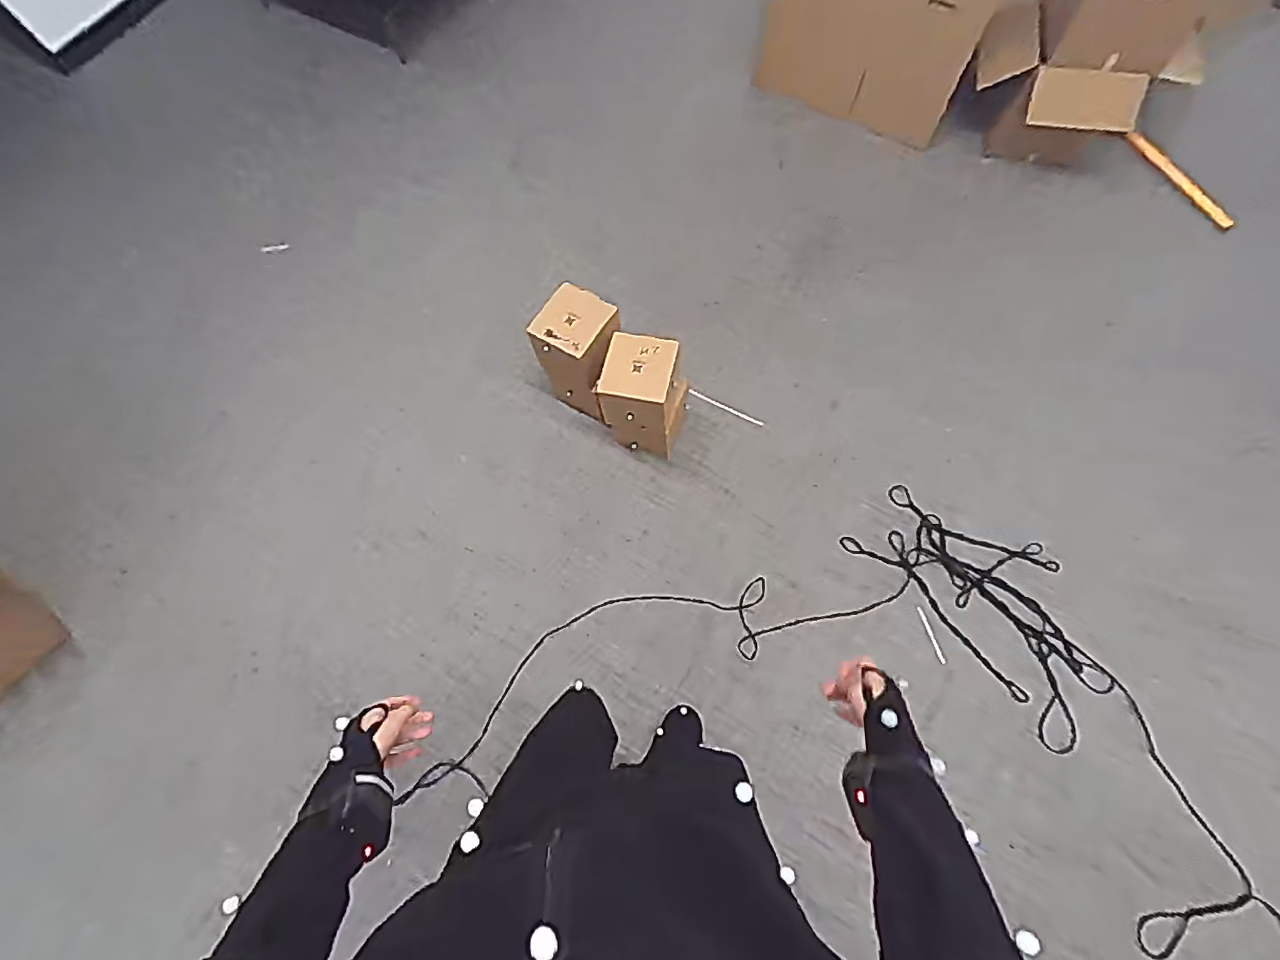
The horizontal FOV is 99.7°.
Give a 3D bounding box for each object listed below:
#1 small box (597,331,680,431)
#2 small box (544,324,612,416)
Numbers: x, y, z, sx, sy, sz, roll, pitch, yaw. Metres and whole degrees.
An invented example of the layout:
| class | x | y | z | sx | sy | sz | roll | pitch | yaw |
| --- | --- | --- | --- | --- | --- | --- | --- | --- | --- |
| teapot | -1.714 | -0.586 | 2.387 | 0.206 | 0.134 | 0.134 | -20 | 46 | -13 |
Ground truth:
| class | x | y | z | sx | sy | sz | roll | pitch | yaw |
| --- | --- | --- | --- | --- | --- | --- | --- | --- | --- |
| small box | 0.004 | -0.242 | 1.354 | 0.168 | 0.176 | 0.179 | 12 | 70 | 9 |
| small box | -0.145 | -0.309 | 1.563 | 0.179 | 0.176 | 0.168 | 29 | 73 | 14 |
